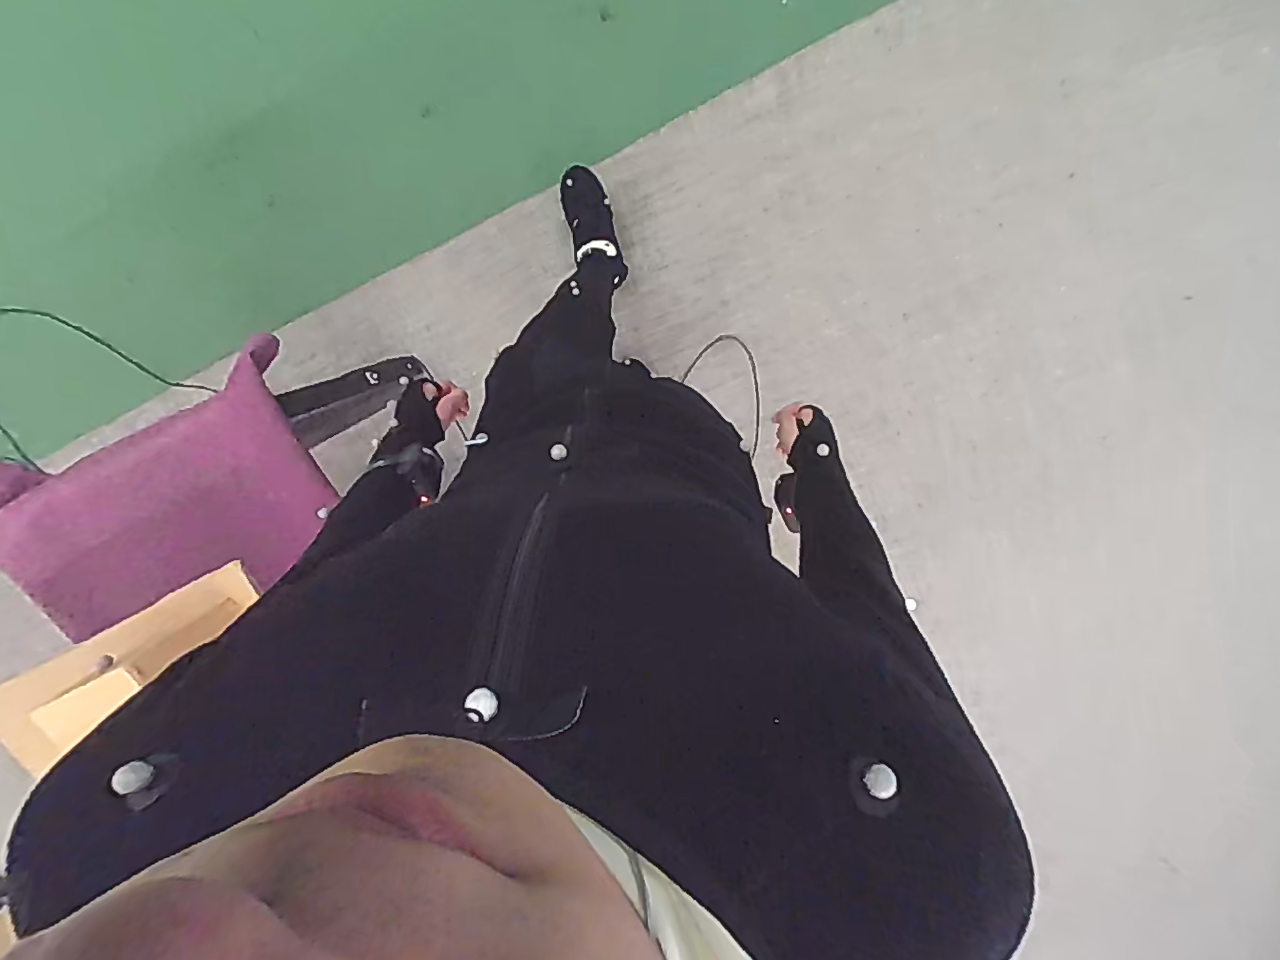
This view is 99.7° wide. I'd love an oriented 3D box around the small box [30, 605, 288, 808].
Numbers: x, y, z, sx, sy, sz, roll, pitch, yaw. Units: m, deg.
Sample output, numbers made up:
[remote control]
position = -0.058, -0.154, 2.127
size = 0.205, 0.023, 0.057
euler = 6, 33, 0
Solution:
[small box]
position = -0.656, 0.309, 0.762
size = 0.179, 0.176, 0.168
euler = -26, 104, 10
